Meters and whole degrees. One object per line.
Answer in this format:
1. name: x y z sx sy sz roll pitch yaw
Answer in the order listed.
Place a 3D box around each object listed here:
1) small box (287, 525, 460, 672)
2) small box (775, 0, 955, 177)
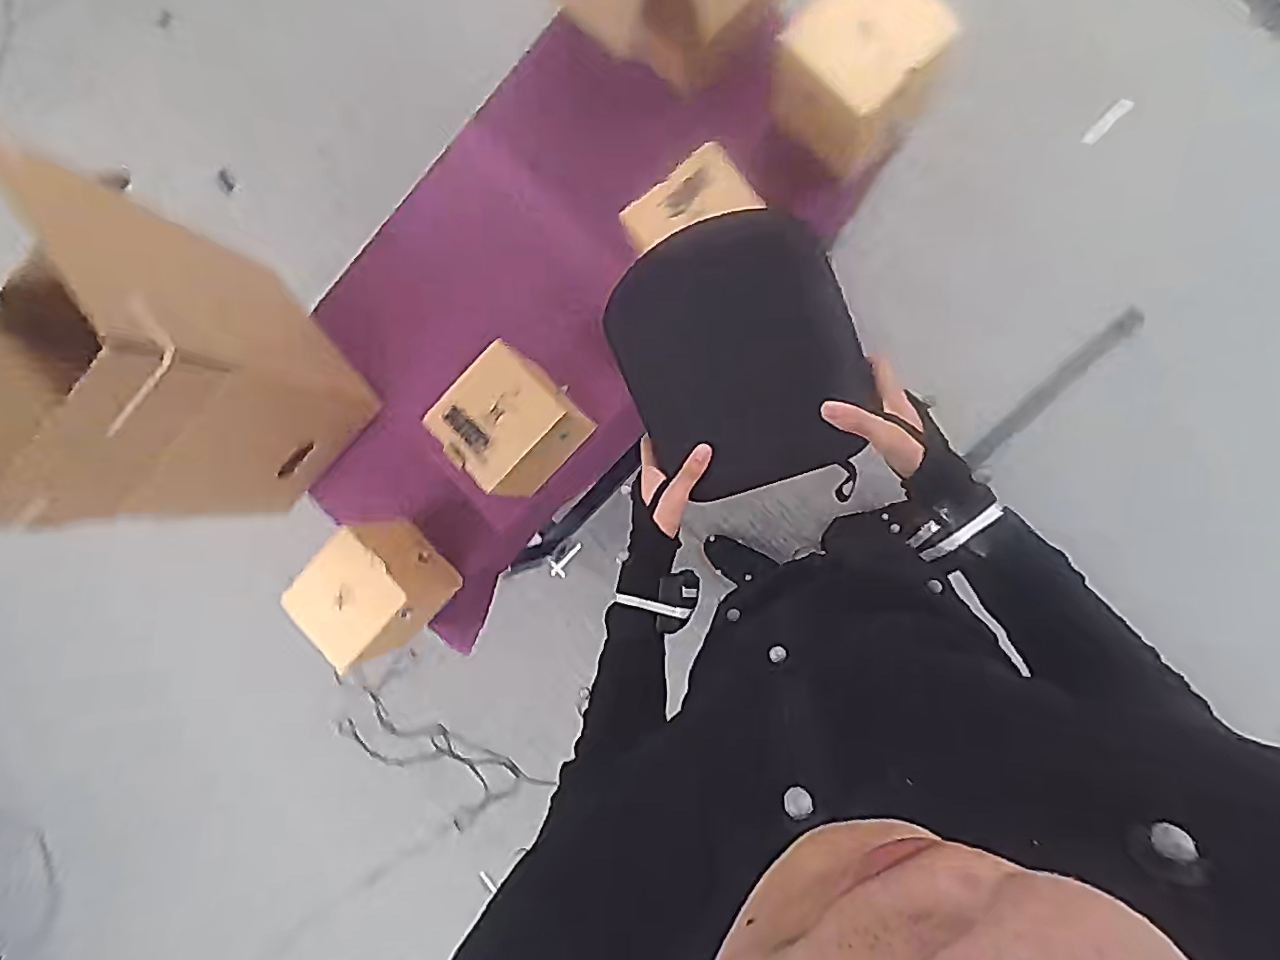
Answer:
1. small box: -0.454 0.196 0.946 0.168 0.176 0.179 43 95 10
2. small box: 0.317 -0.604 0.808 0.168 0.176 0.179 -41 80 9
